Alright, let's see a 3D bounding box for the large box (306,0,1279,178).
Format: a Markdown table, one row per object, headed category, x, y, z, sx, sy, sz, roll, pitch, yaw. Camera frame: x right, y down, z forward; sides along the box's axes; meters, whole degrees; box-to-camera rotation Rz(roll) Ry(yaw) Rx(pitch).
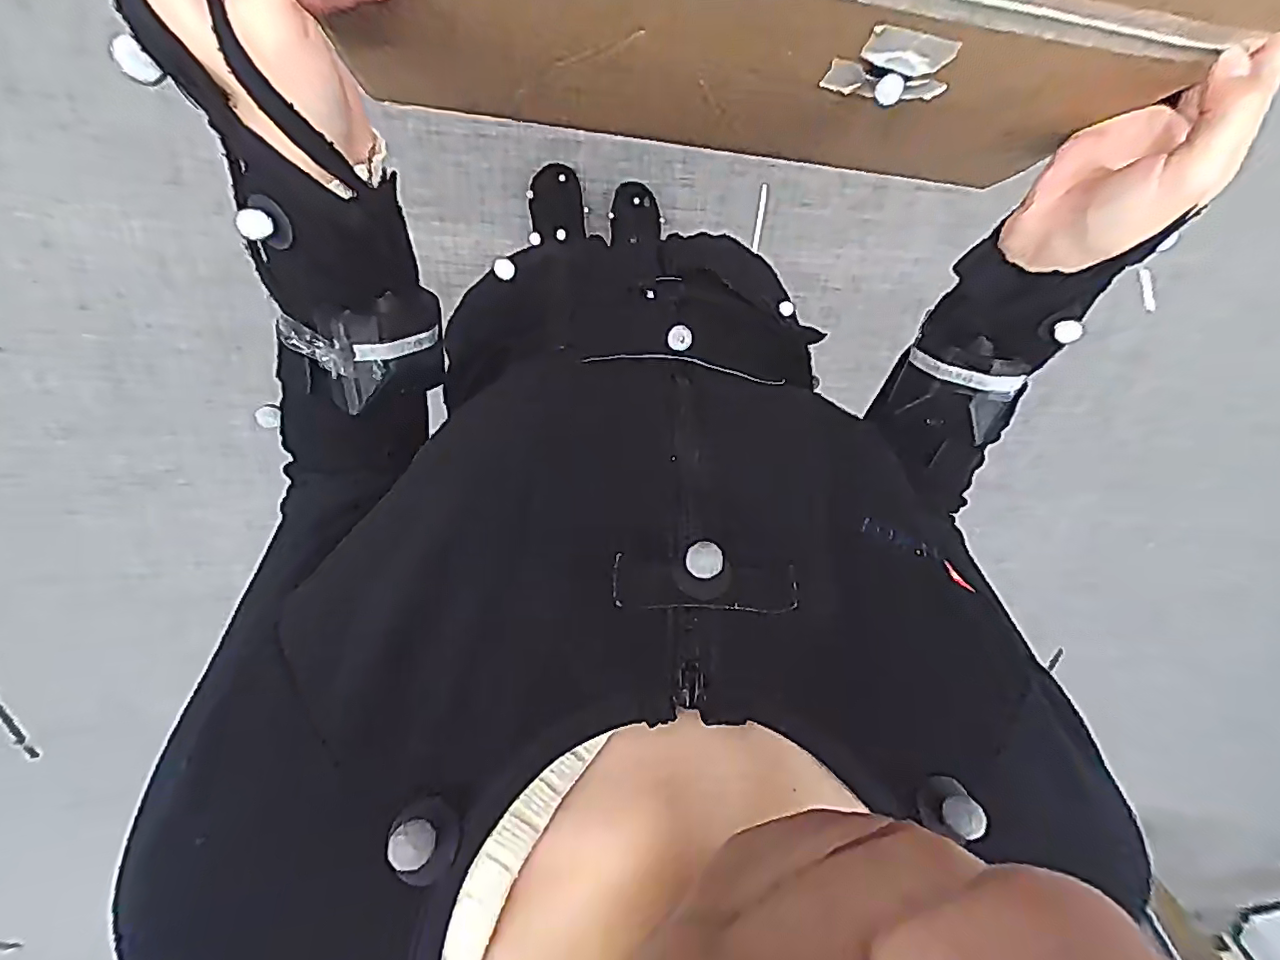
| category | x | y | z | sx | sy | sz | roll | pitch | yaw |
| --- | --- | --- | --- | --- | --- | --- | --- | --- | --- |
| large box | 0.062 | -0.347 | 0.183 | 0.408 | 0.320 | 0.320 | 3 | 99 | -8 |
